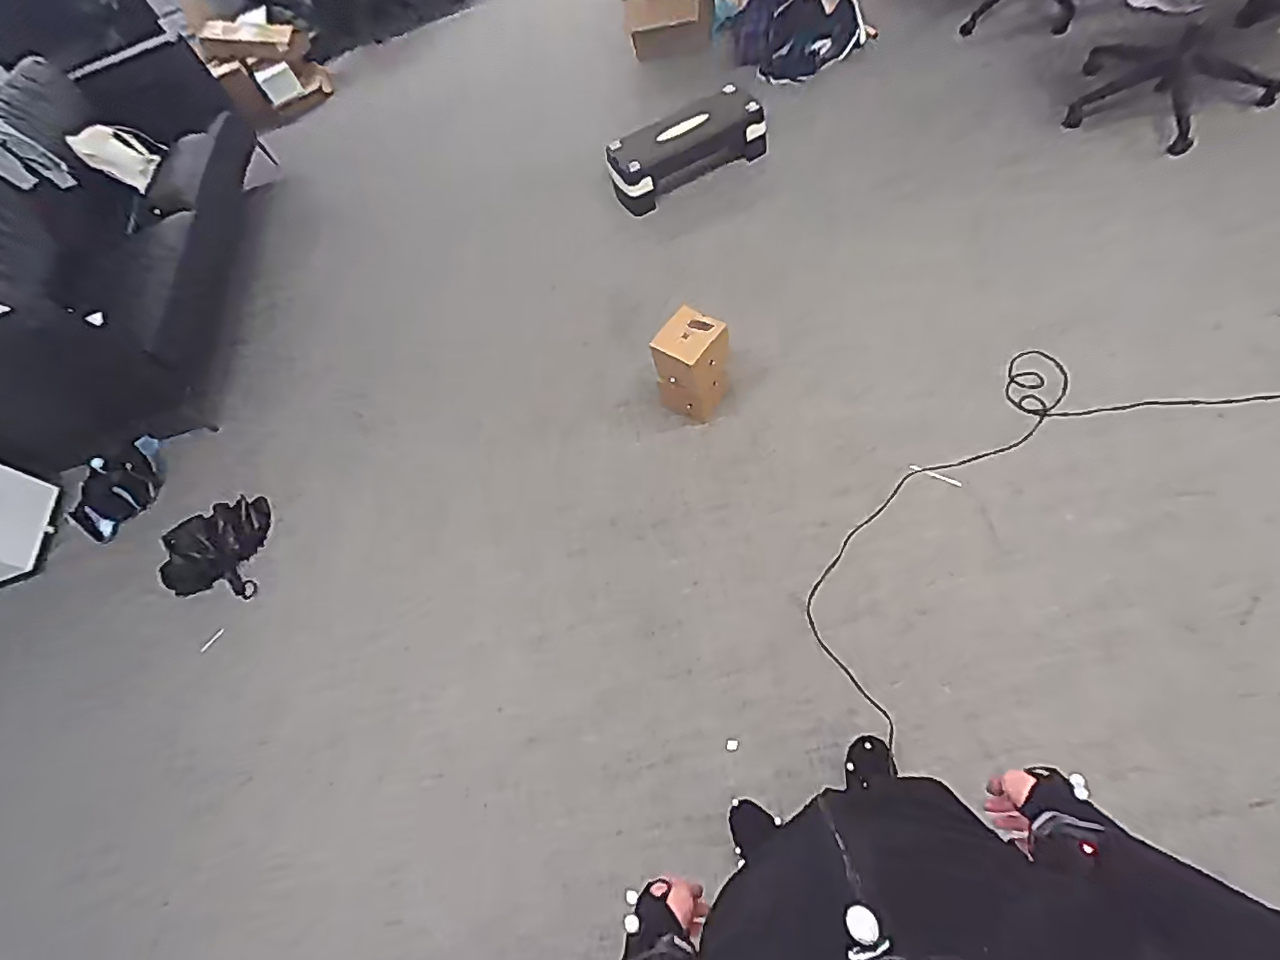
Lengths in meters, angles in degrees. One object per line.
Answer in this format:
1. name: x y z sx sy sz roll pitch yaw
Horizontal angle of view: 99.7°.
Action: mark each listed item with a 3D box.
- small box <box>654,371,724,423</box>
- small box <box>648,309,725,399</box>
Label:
1. small box: 0.172 -0.319 1.817 0.168 0.176 0.179 24 70 24
2. small box: 0.151 -0.386 1.667 0.168 0.176 0.179 32 75 26
